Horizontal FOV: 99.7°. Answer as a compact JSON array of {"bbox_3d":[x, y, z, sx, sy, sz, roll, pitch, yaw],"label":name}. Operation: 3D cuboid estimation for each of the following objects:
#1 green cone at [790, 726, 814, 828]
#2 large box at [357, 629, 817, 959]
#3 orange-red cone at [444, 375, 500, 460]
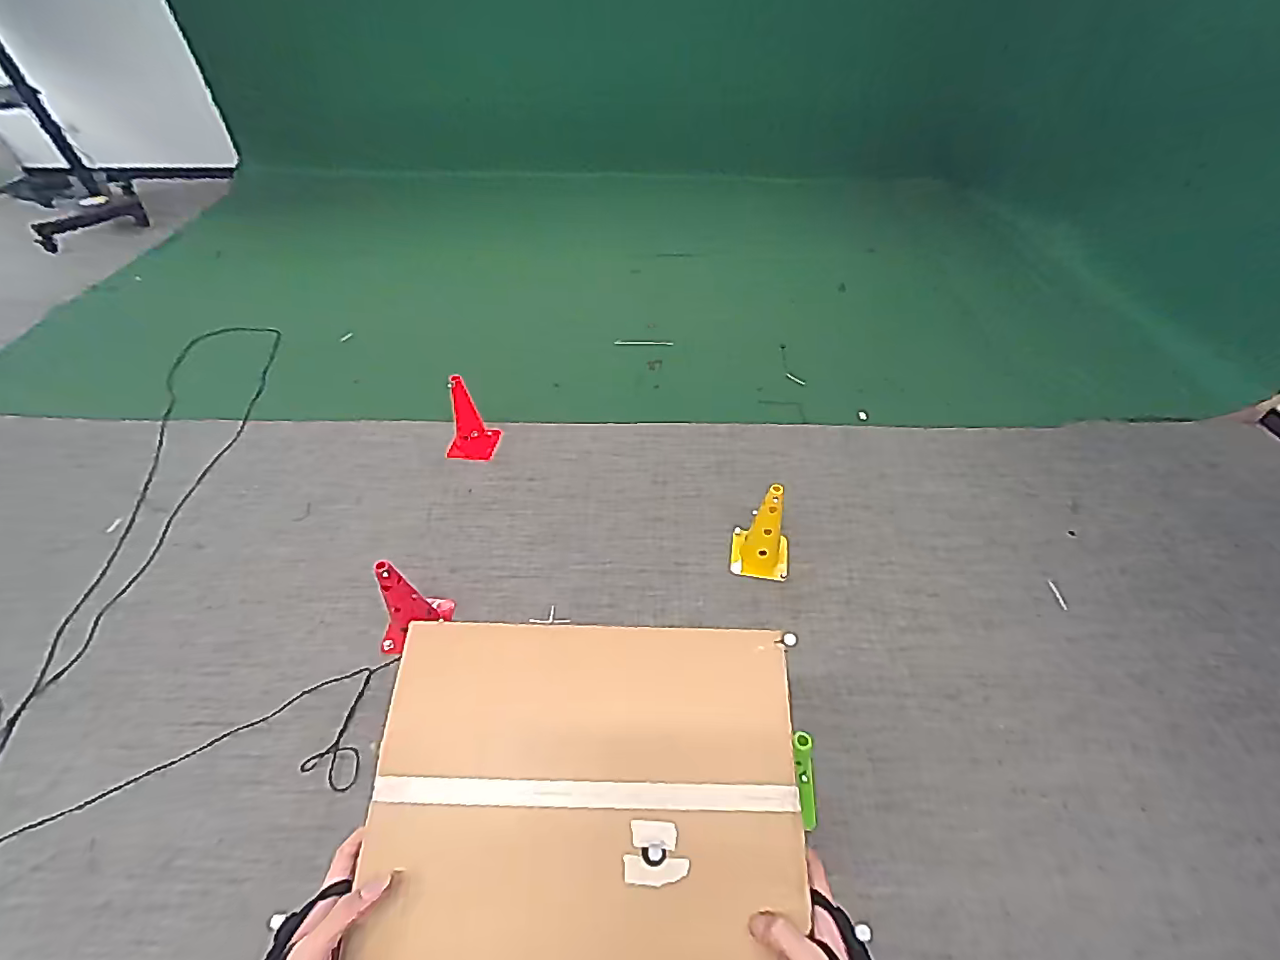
[{"bbox_3d":[0.365,0.701,1.339,0.200,0.368,0.202,5,46,4],"label":"green cone"},{"bbox_3d":[-0.048,0.371,0.654,0.408,0.320,0.320,1,64,0],"label":"large box"},{"bbox_3d":[-0.734,-0.278,2.235,0.199,0.360,0.198,5,47,6],"label":"orange-red cone"}]
